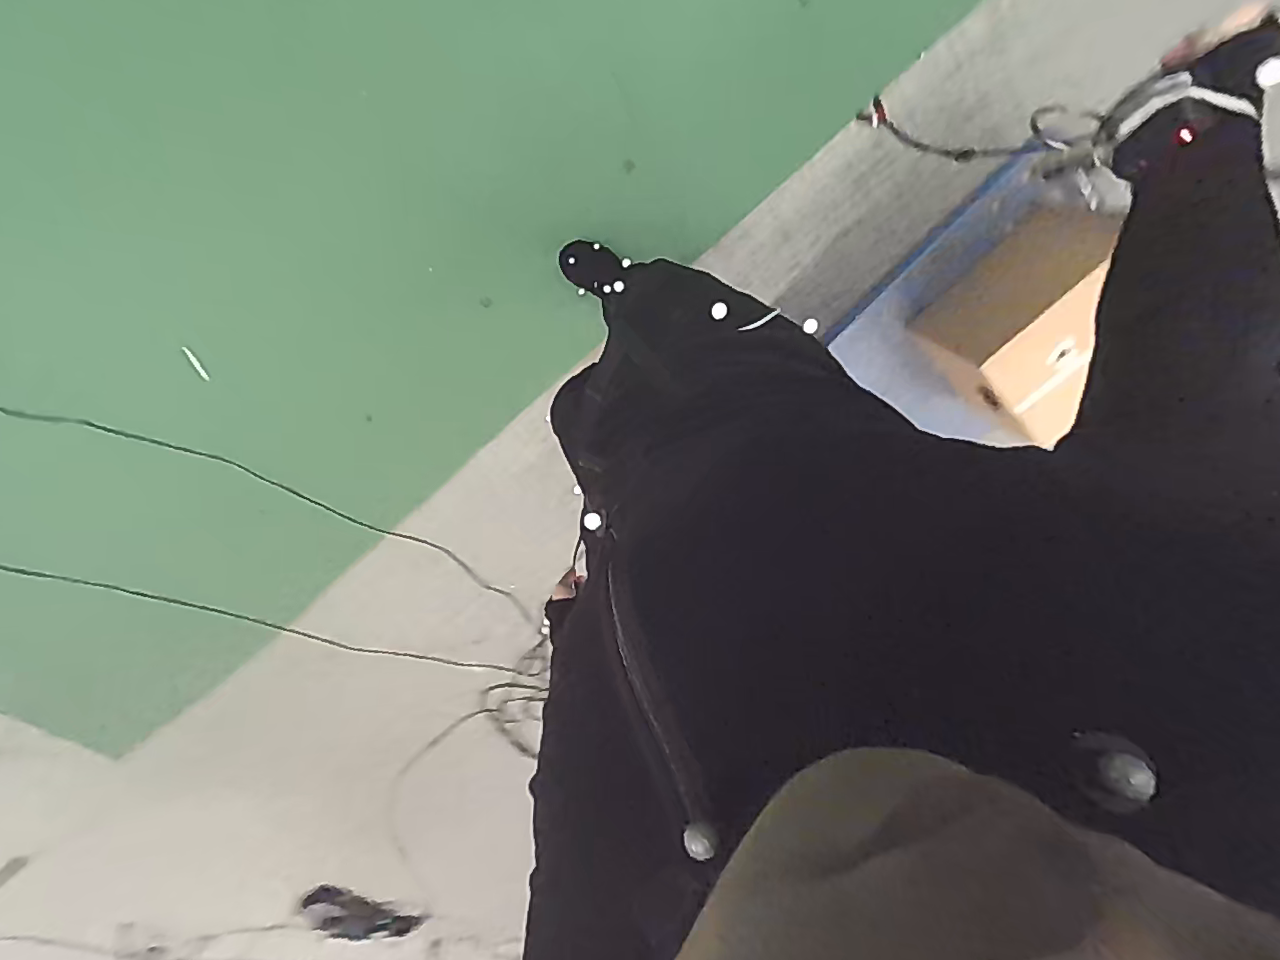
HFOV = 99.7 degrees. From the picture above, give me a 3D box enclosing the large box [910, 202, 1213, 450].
[{"bbox_3d":[0.941,-0.359,1.255,0.320,0.320,0.408,36,112,-23],"label":"large box"}]
